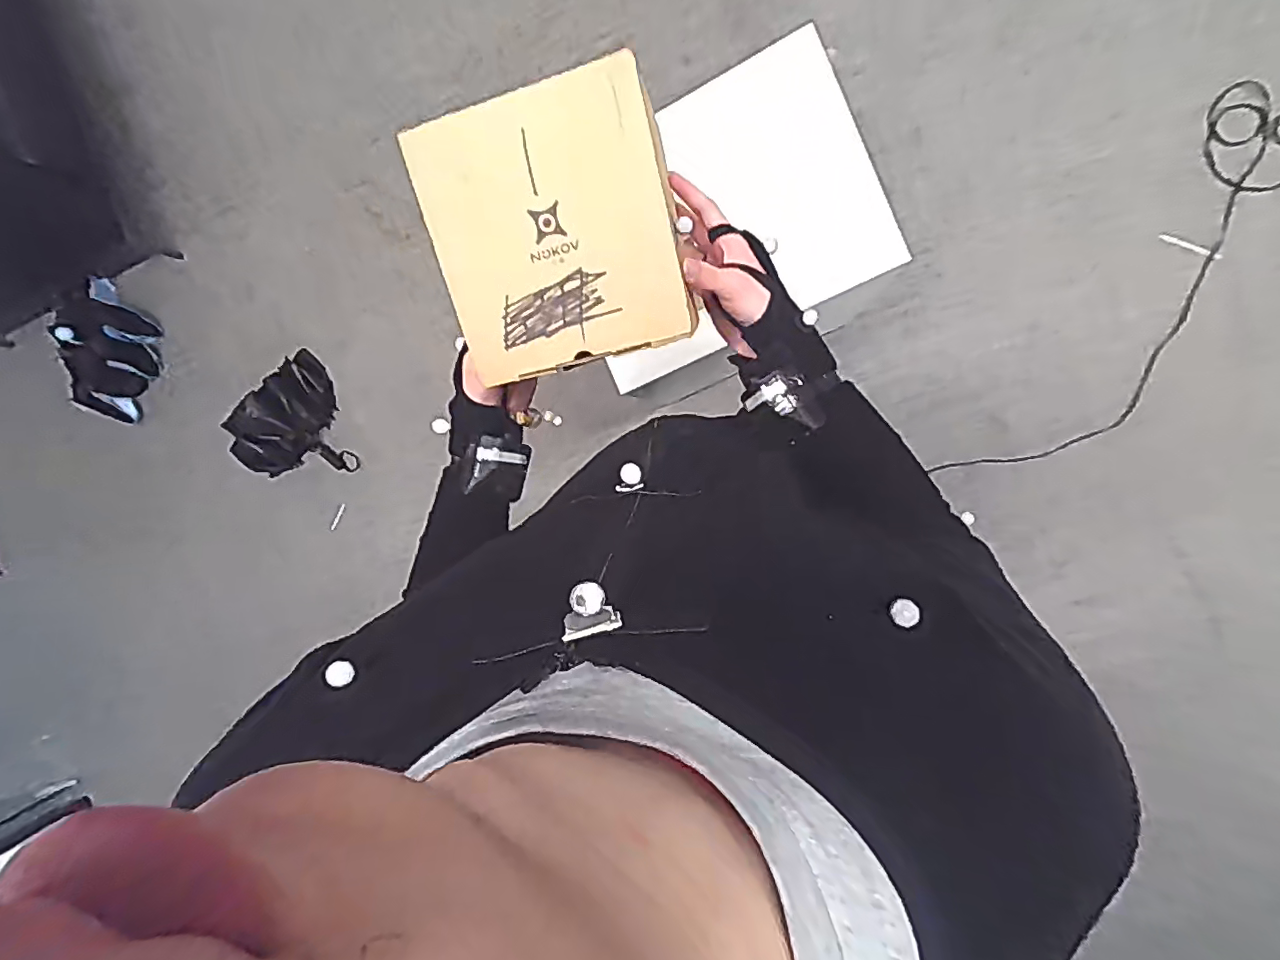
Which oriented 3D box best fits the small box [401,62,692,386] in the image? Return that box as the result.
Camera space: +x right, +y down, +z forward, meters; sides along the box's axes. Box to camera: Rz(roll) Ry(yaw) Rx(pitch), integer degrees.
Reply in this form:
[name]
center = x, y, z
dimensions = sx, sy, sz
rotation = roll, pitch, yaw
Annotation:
[small box]
center = -0.054, -0.191, 0.448
dimensions = 0.168, 0.176, 0.179
rotation = -10, 106, 12
